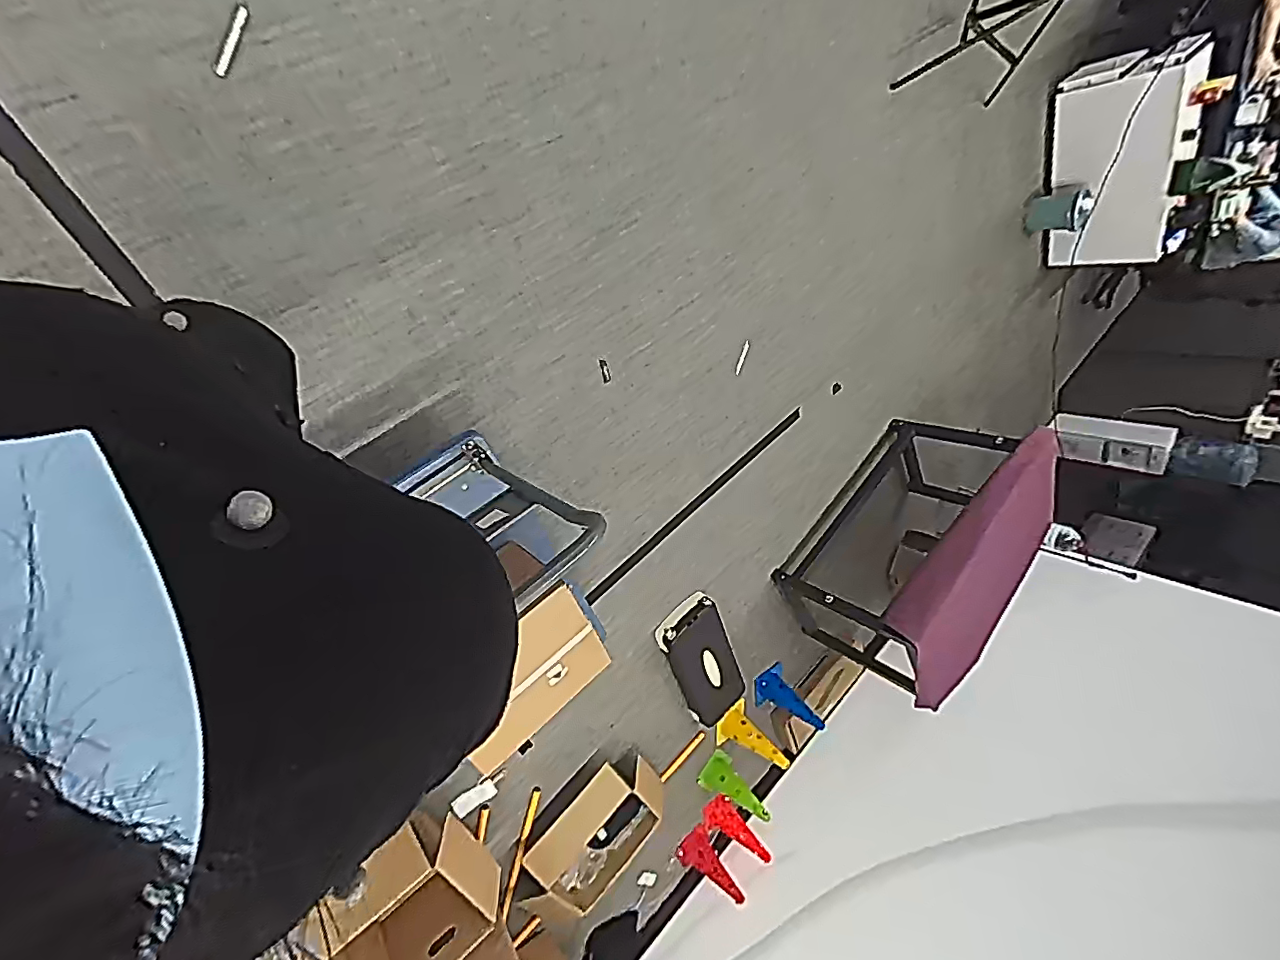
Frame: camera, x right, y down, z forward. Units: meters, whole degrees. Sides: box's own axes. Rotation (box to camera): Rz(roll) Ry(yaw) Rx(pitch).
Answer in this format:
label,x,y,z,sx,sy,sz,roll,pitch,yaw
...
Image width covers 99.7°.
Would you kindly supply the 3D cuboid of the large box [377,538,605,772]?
label,x,y,z,sx,sy,sz,roll,pitch,yaw
large box,-0.373,0.421,1.378,0.408,0.320,0.320,-39,126,-24
